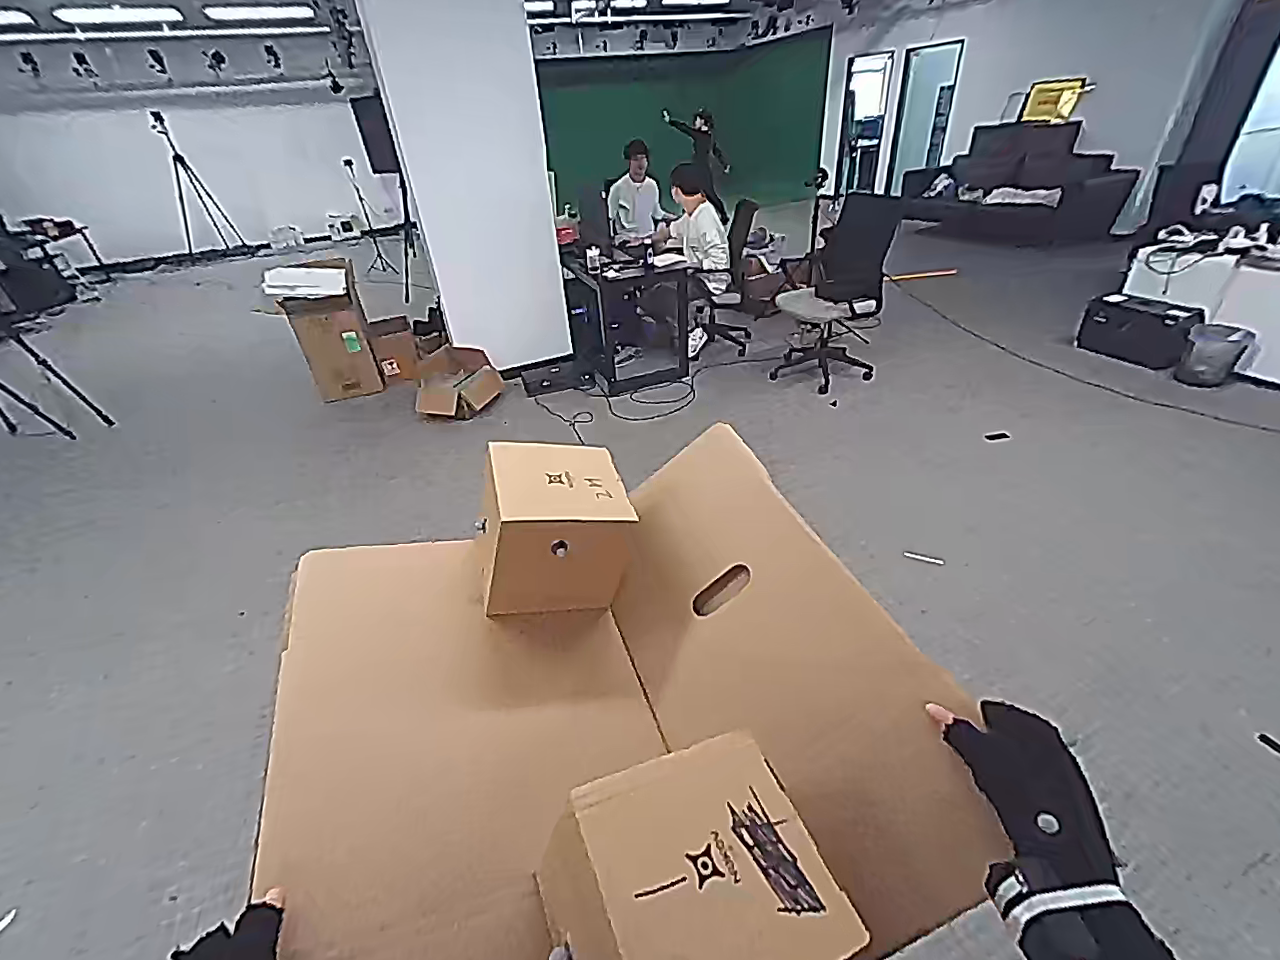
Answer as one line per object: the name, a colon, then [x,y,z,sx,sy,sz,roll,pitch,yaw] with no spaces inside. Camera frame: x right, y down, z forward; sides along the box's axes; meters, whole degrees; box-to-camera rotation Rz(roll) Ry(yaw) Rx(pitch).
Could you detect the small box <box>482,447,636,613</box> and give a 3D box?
small box: [-0.126,0.072,0.760,0.179,0.176,0.168,3,37,-23]
